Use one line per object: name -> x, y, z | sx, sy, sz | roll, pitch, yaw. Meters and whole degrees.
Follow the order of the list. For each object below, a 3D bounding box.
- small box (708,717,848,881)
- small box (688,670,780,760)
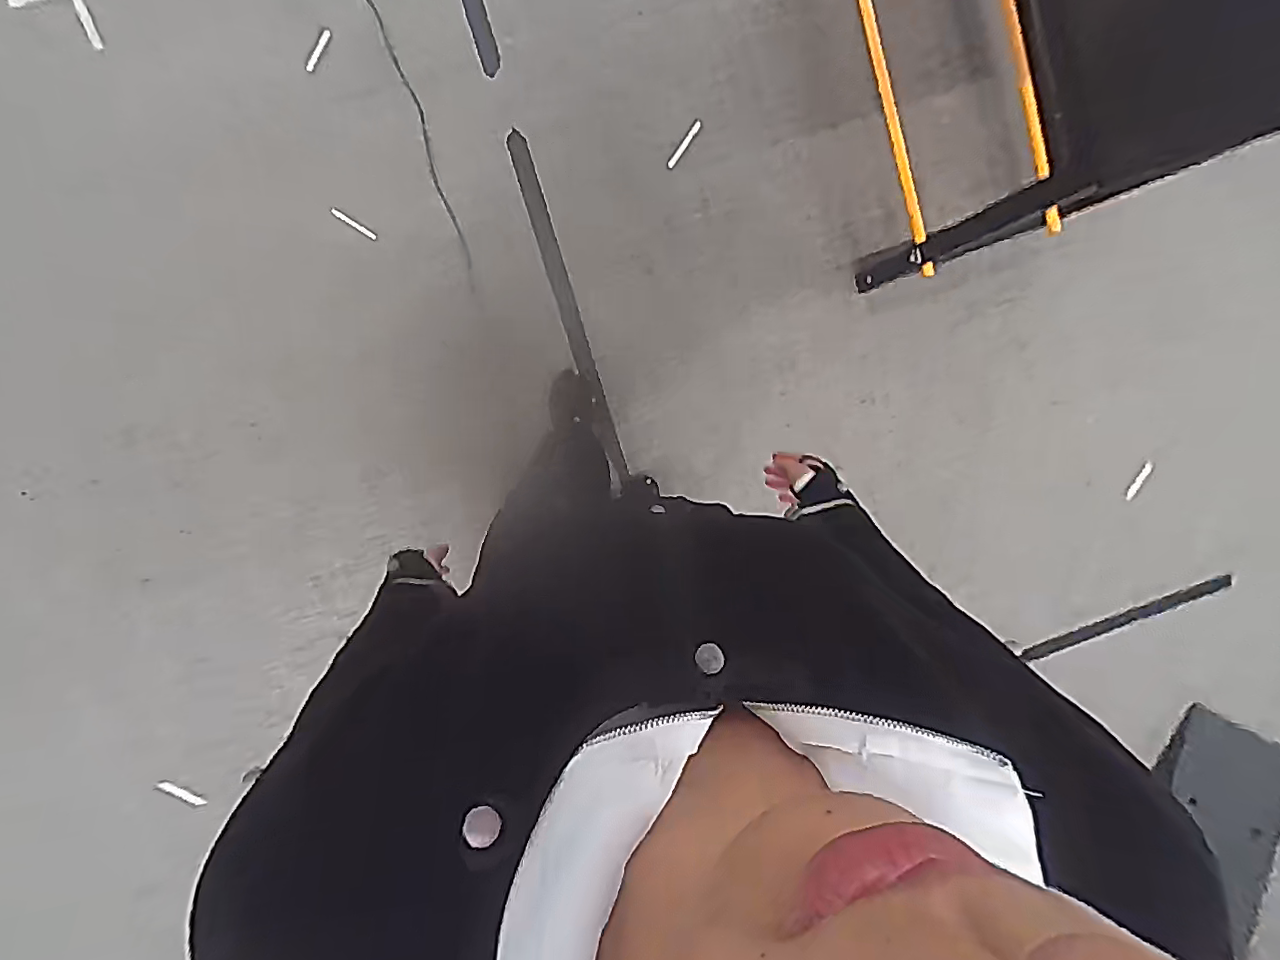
small box -> 0.243, 0.571, 0.999 | 0.168, 0.176, 0.179 | -26, 98, -3
small box -> 0.221, 0.547, 1.160 | 0.168, 0.176, 0.179 | -27, 98, -3
